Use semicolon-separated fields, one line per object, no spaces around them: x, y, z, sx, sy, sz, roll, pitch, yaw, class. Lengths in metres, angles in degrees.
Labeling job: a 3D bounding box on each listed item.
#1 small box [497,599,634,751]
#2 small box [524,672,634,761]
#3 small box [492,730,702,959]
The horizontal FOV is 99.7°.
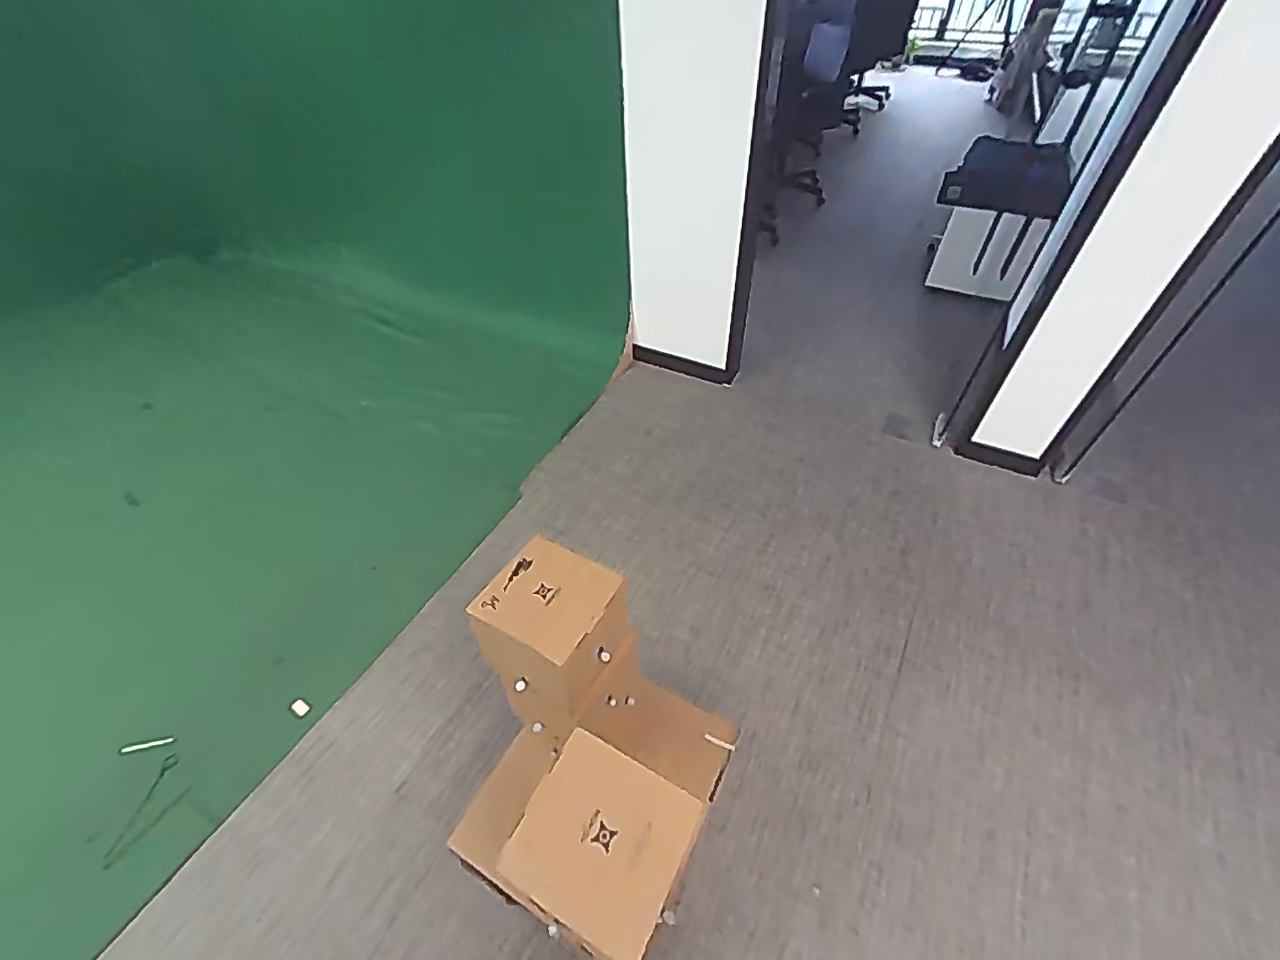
-0.125;0.353;0.962;0.168;0.176;0.179;23;48;22;small box
-0.125;0.461;1.088;0.168;0.176;0.179;21;47;21;small box
-0.045;0.442;0.646;0.179;0.176;0.168;23;52;19;small box
